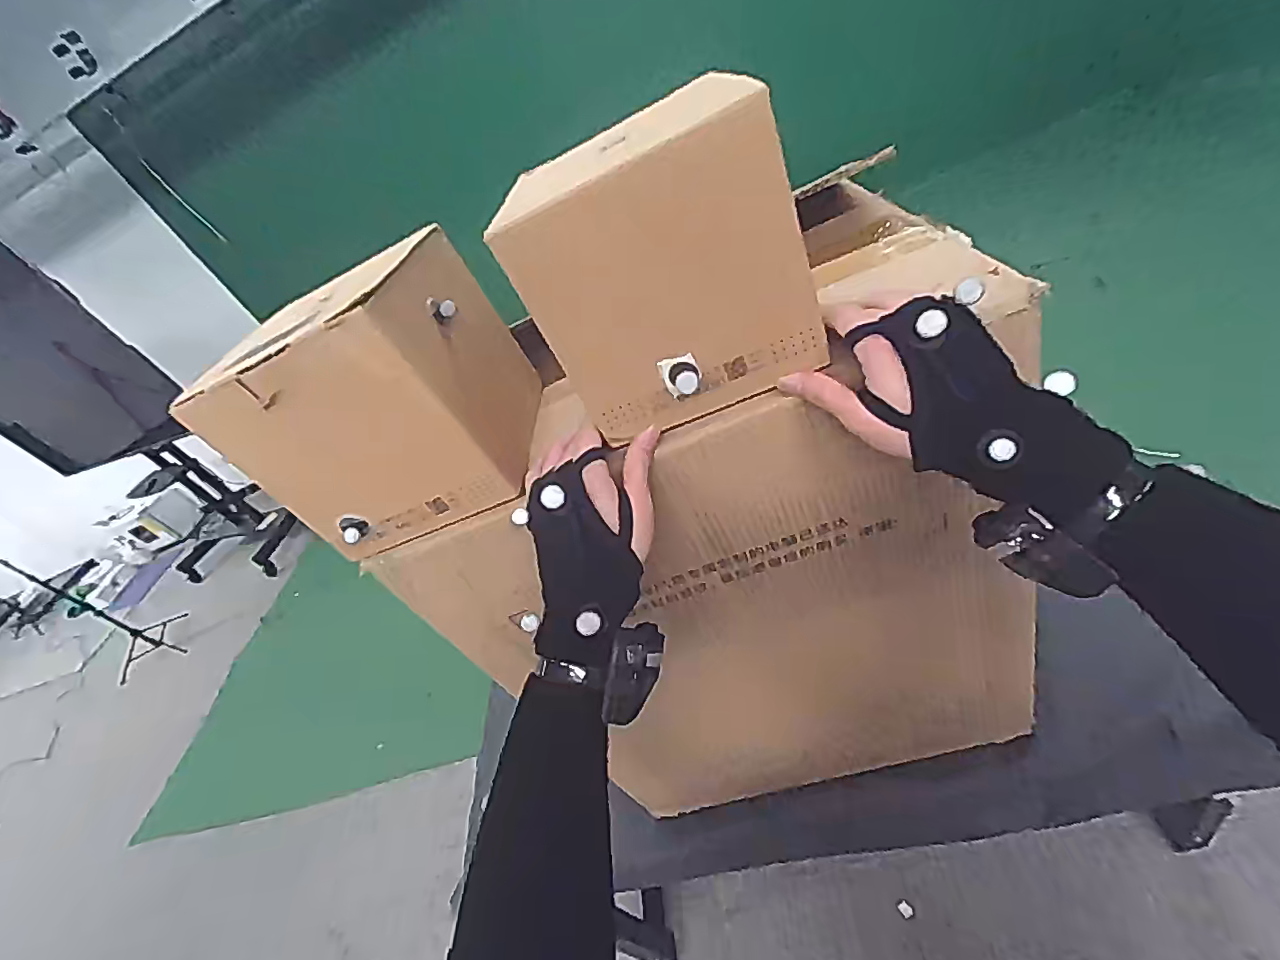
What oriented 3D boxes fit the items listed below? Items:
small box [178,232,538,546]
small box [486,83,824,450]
[{"bbox_3d":[-0.202,-0.066,0.448,0.168,0.176,0.179,-21,37,15],"label":"small box"},{"bbox_3d":[0.016,-0.153,0.397,0.168,0.176,0.179,-22,38,13],"label":"small box"}]
